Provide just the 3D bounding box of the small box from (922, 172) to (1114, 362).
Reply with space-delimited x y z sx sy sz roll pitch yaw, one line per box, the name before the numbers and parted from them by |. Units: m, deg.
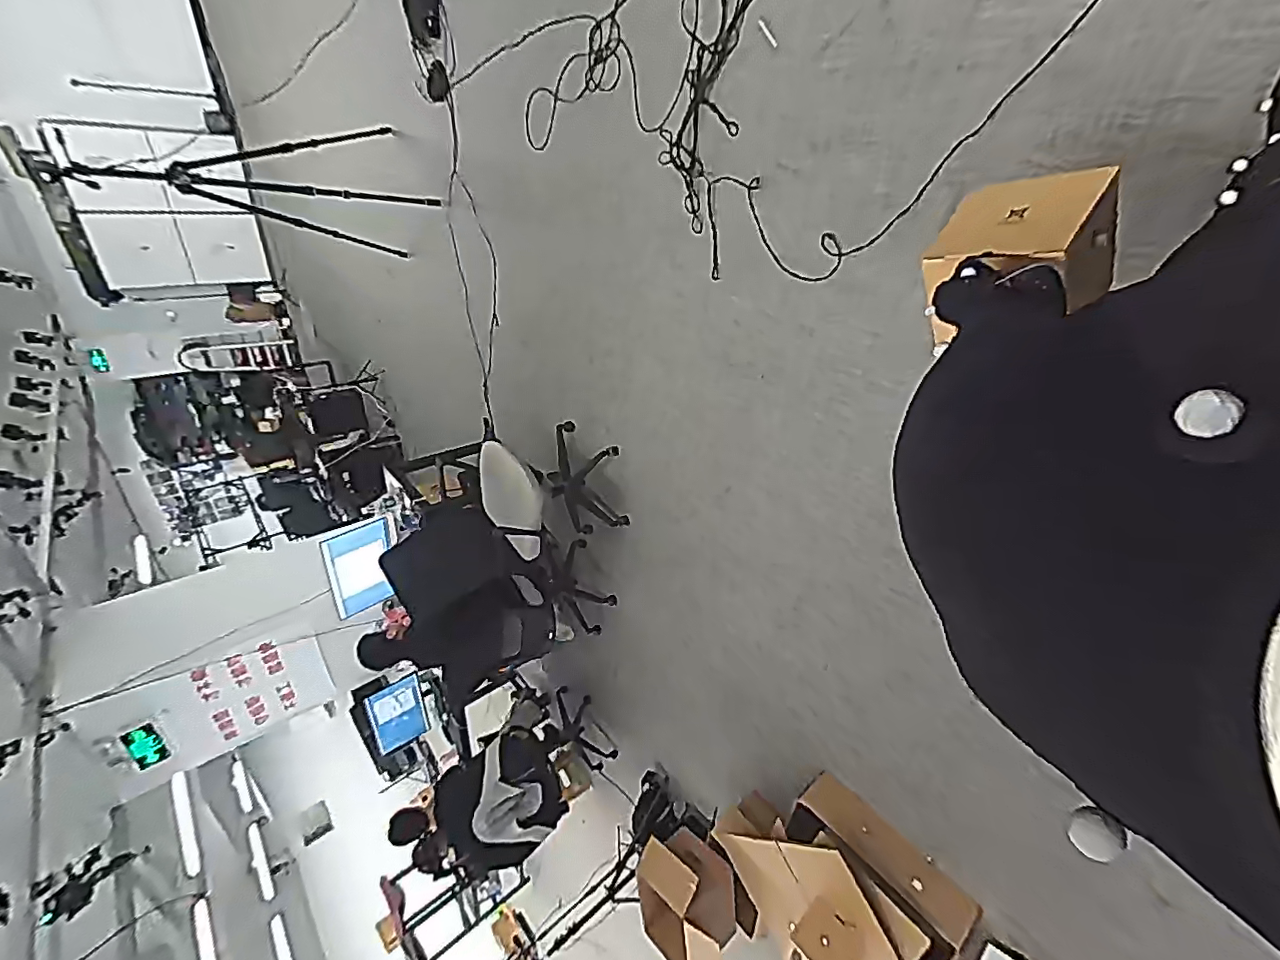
small box | 0.527 -0.292 0.760 0.168 0.179 0.176 20 154 48
